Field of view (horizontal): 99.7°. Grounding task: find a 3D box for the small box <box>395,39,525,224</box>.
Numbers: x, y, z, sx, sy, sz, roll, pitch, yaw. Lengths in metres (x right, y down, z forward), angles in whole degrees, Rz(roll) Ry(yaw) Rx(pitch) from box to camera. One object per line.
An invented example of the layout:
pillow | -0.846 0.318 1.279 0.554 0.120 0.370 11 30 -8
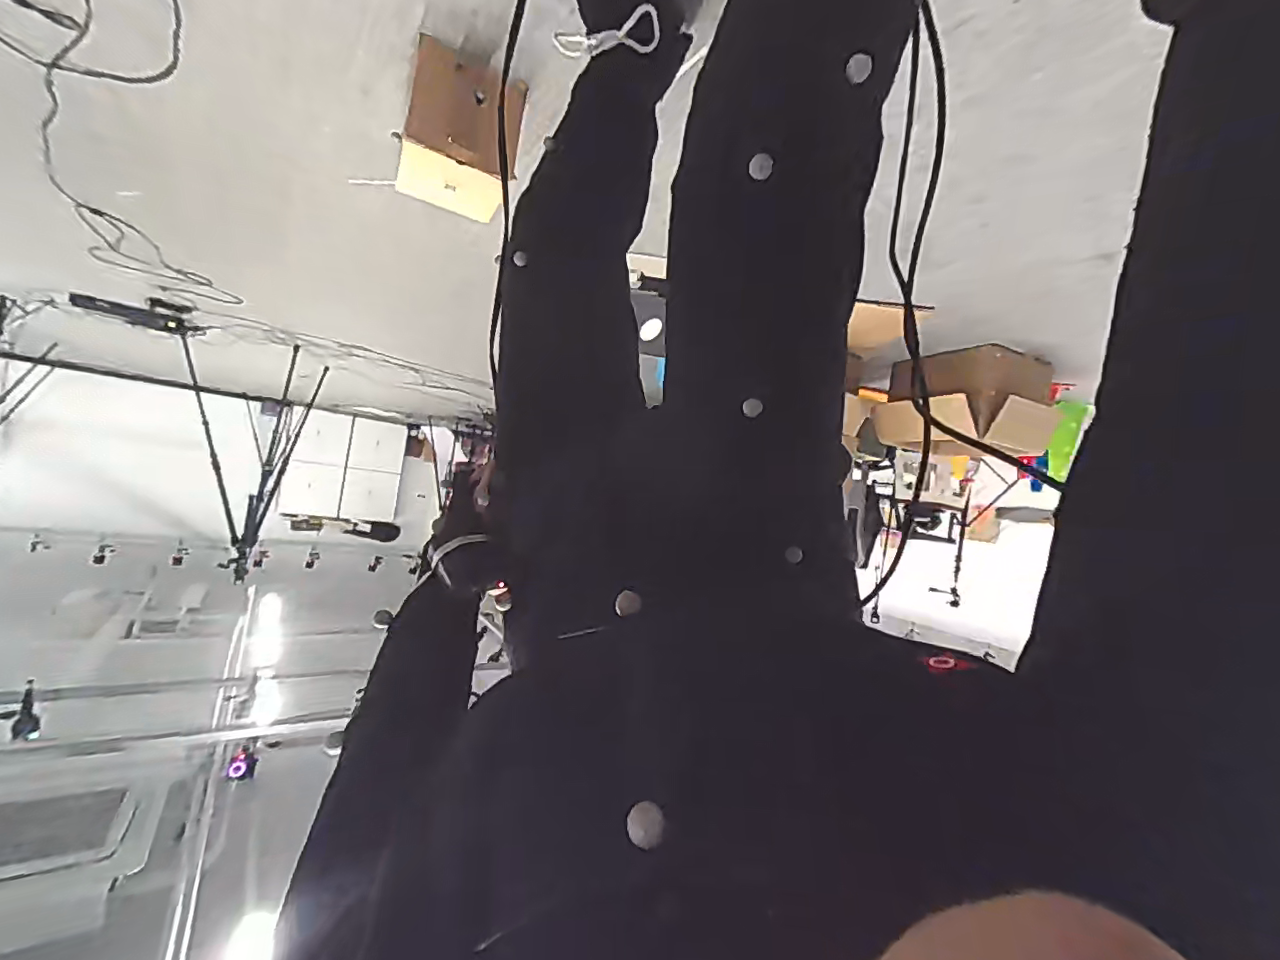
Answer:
small box | -0.303 -0.573 0.912 0.168 0.176 0.179 10 177 -29
